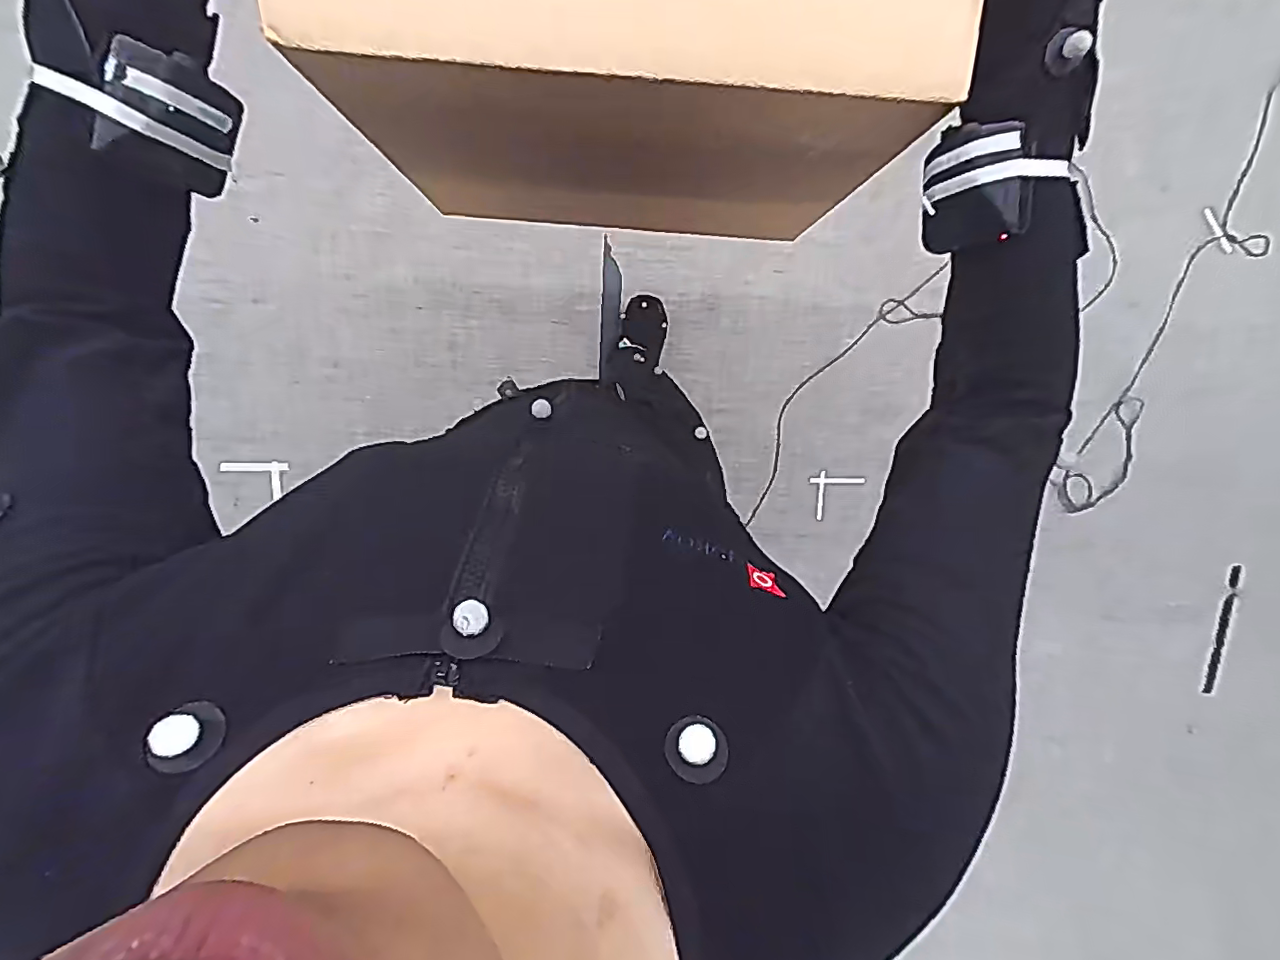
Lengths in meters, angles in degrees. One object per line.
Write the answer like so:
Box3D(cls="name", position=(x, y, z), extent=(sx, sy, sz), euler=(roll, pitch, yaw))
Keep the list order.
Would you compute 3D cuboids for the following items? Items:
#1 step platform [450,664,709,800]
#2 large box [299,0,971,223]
Box3D(cls="step platform", position=(-0.155, 0.683, 1.470), extent=(0.684, 0.204, 0.286), euler=(0, 98, -1))
Box3D(cls="large box", position=(-0.003, -0.424, 0.444), extent=(0.408, 0.320, 0.320), euler=(2, 100, -4))
